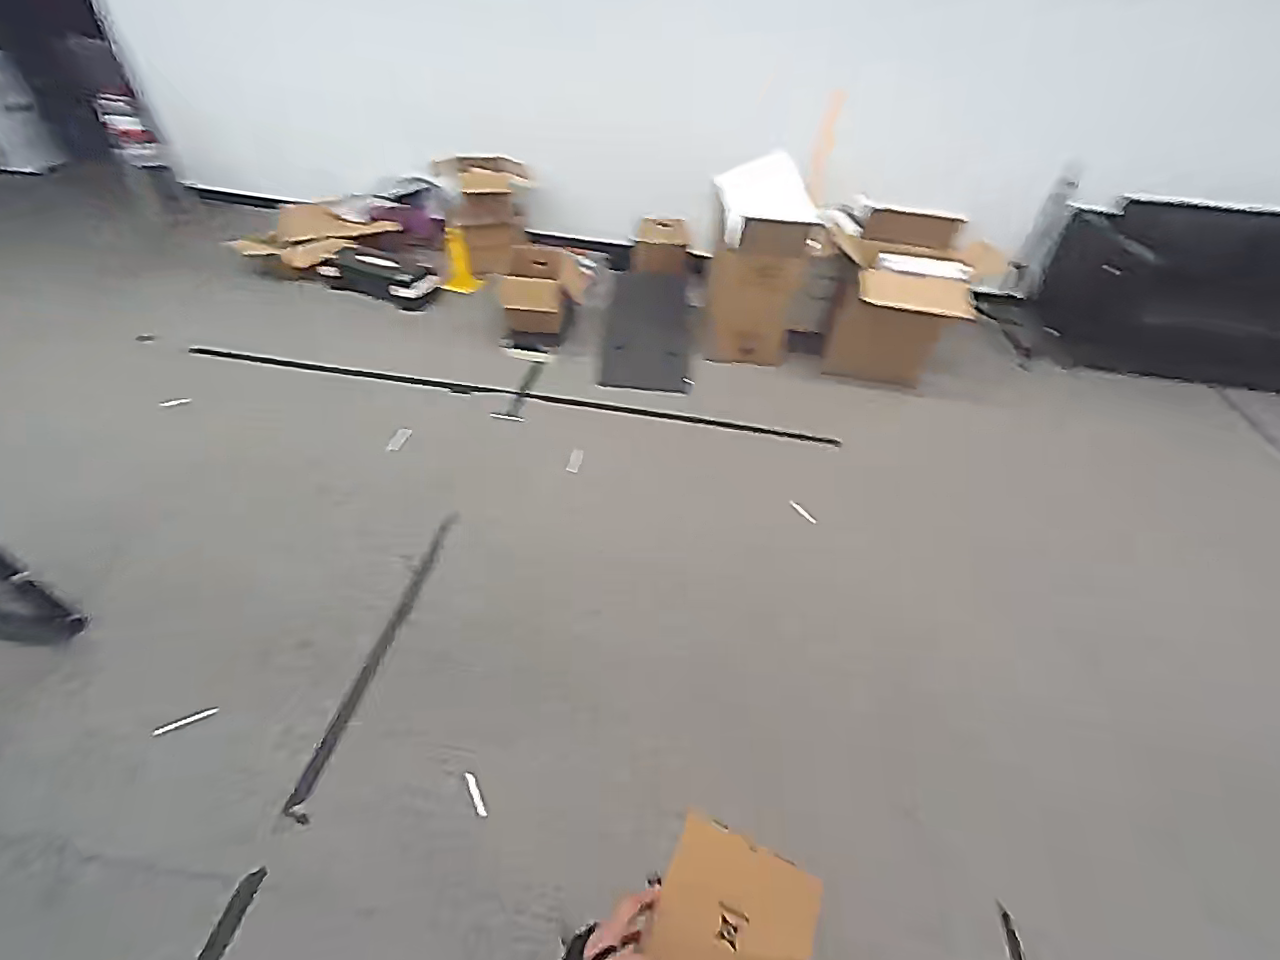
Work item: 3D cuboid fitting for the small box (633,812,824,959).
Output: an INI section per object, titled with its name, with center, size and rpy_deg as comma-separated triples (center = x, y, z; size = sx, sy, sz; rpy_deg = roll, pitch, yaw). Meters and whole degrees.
[small box]
center = 0.091, 0.531, 0.615
size = 0.168, 0.176, 0.179
rpy_deg = 20, 44, 16
